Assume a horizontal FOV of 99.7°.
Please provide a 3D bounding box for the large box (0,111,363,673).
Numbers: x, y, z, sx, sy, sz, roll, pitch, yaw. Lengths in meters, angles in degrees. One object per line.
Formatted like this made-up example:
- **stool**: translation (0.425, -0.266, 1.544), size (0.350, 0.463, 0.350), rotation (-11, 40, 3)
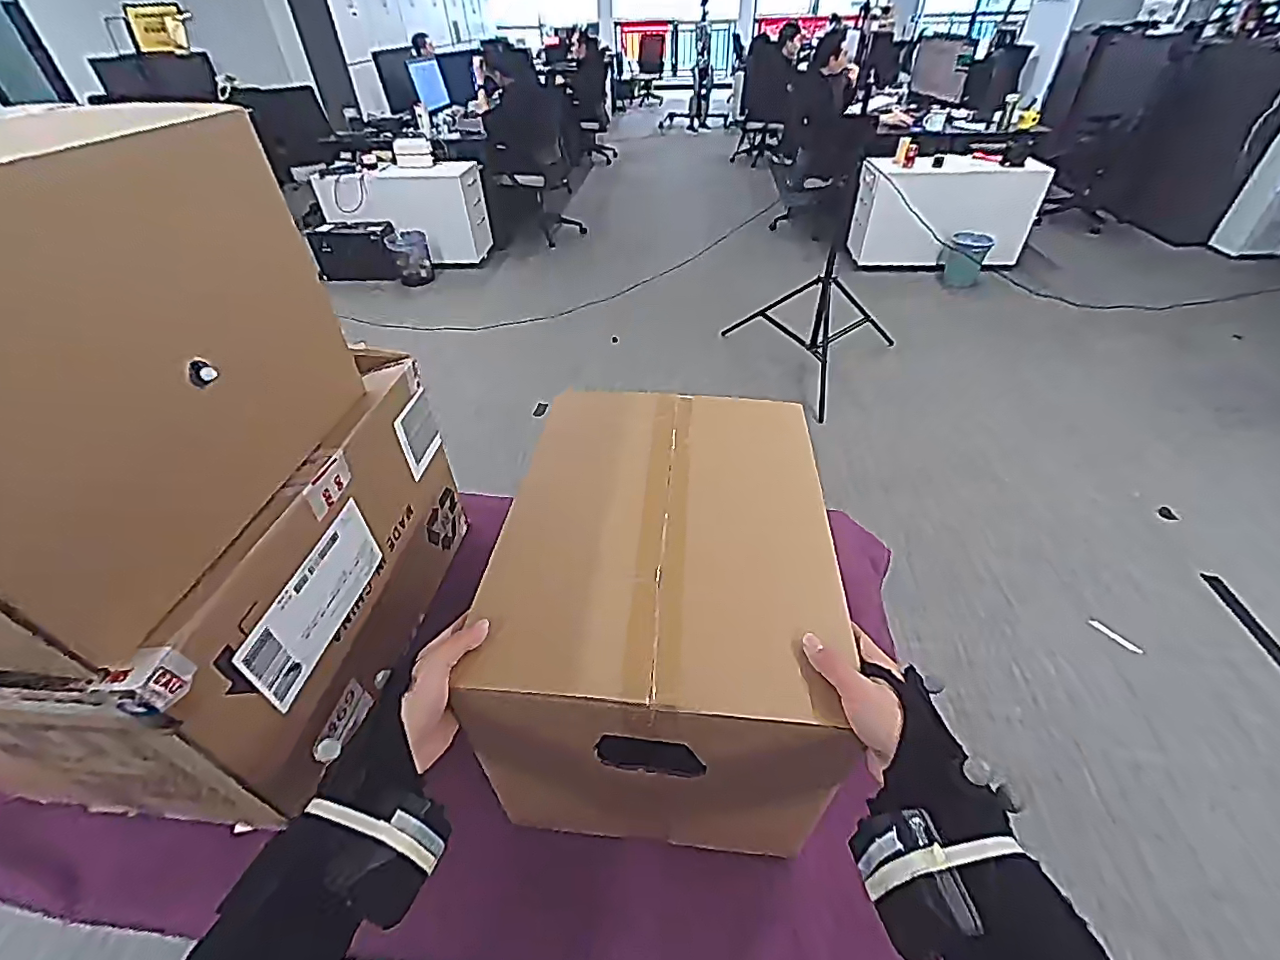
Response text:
- **large box**: translation (-0.518, -0.100, 0.466), size (0.320, 0.320, 0.408), rotation (1, 42, 5)
